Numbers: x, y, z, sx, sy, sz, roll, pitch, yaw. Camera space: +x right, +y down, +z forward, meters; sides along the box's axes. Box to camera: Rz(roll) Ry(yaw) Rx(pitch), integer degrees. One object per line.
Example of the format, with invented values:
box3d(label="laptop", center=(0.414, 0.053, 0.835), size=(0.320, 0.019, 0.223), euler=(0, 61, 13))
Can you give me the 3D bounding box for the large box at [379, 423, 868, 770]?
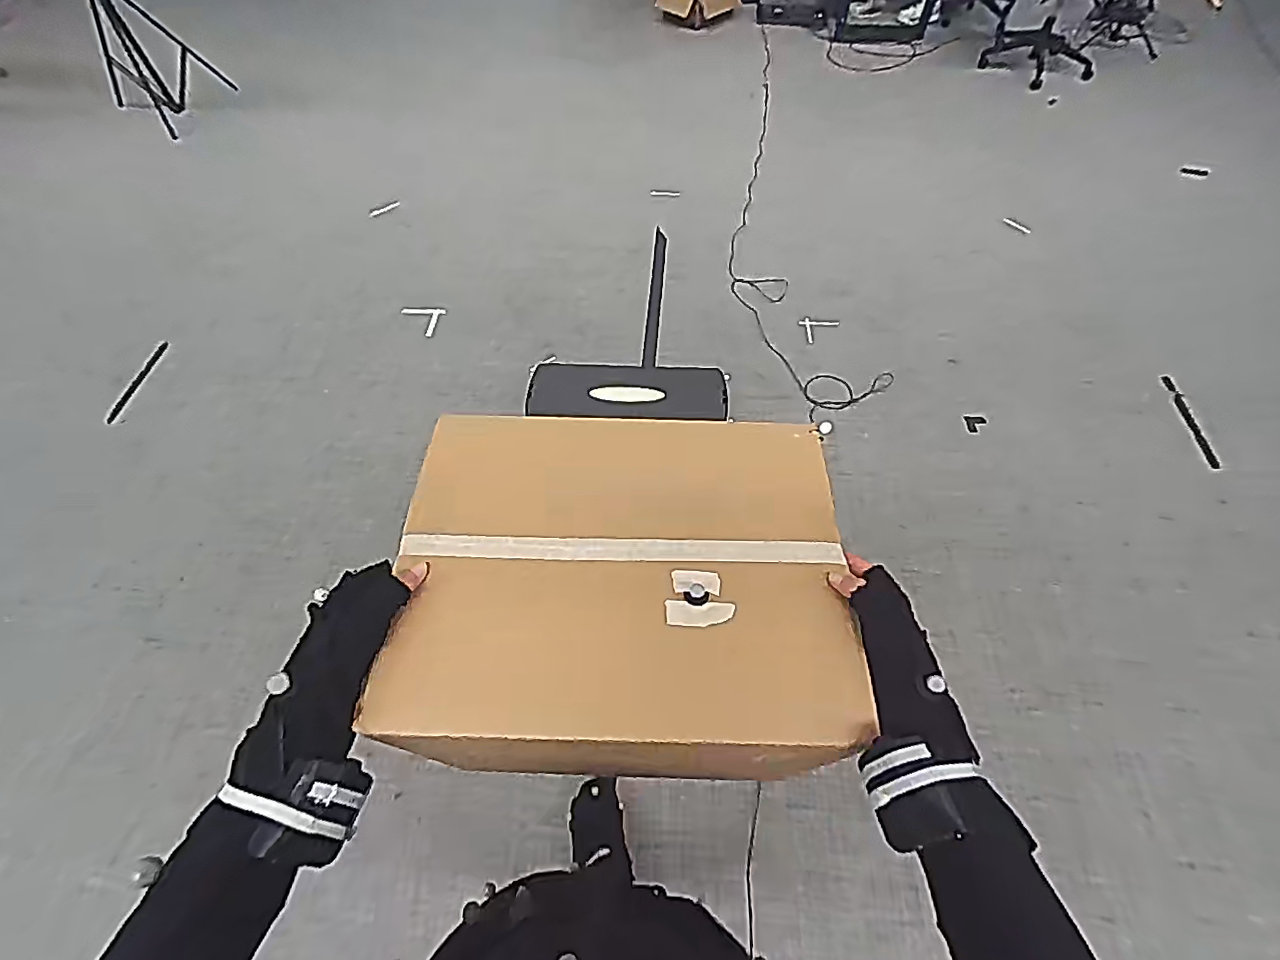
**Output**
box3d(label="large box", center=(-0.014, 0.150, 0.637), size=(0.408, 0.320, 0.320), euler=(2, 57, 0))
